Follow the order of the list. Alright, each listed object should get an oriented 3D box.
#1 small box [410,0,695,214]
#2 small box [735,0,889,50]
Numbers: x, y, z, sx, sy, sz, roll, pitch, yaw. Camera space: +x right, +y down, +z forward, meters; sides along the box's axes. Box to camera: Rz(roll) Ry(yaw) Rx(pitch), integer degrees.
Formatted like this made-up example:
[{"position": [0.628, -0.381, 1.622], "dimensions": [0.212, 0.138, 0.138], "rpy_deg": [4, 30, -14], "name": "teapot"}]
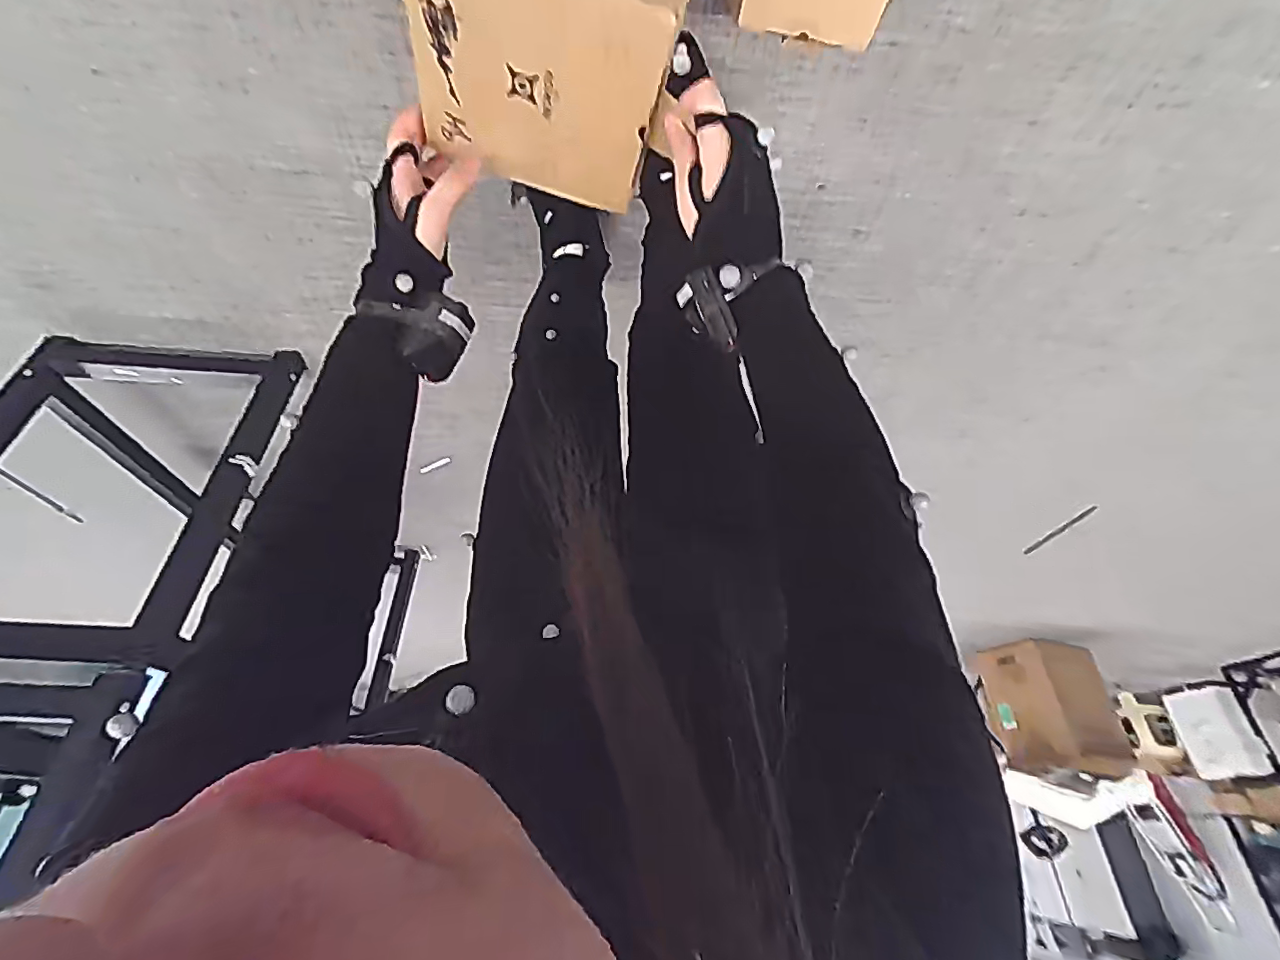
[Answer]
[{"position": [-0.055, -0.347, 0.404], "dimensions": [0.179, 0.176, 0.168], "rpy_deg": [14, 160, -10], "name": "small box"}, {"position": [0.208, -0.637, 0.609], "dimensions": [0.168, 0.176, 0.179], "rpy_deg": [5, 147, -9], "name": "small box"}]
